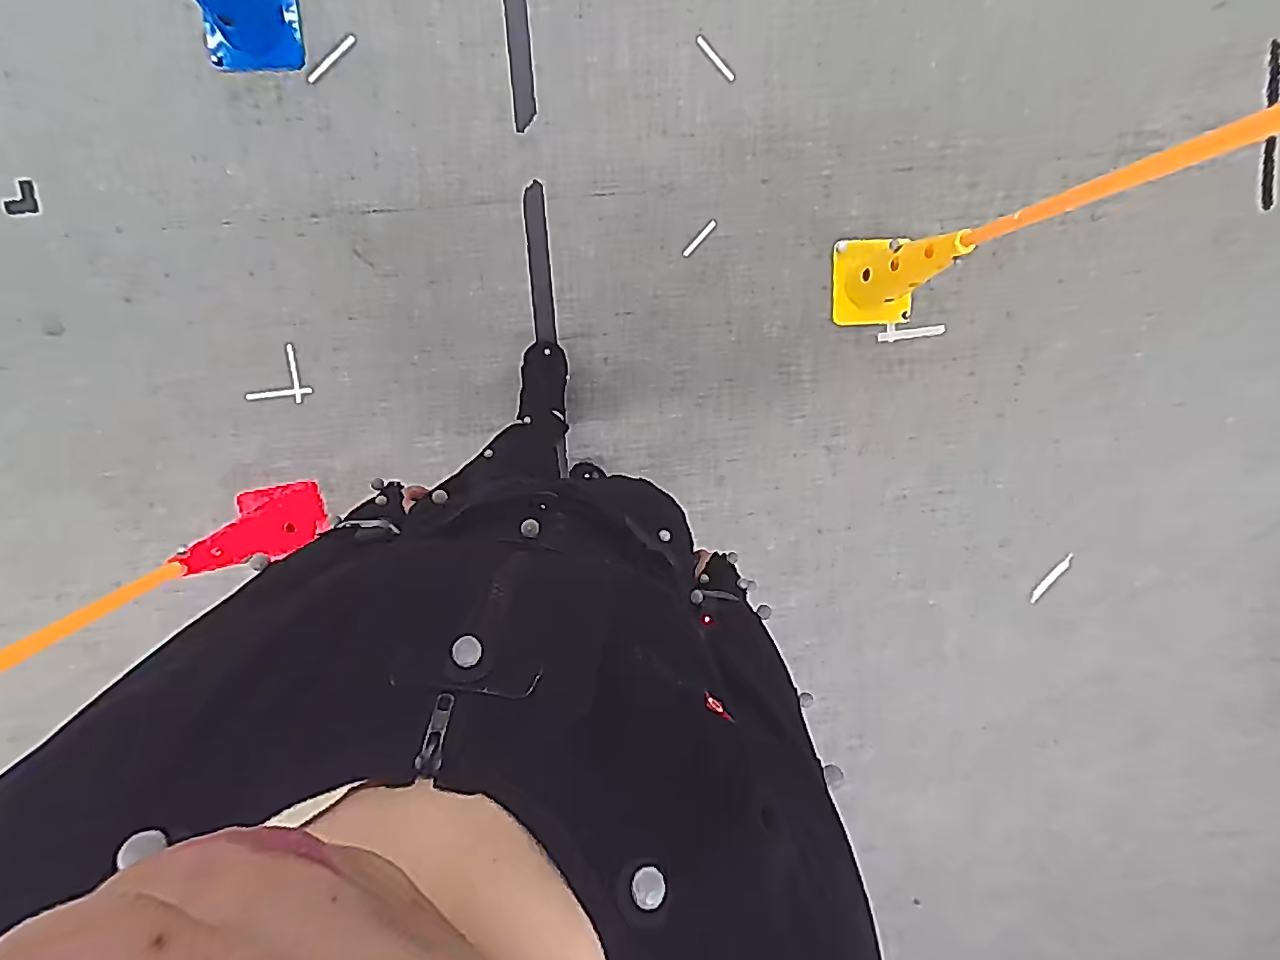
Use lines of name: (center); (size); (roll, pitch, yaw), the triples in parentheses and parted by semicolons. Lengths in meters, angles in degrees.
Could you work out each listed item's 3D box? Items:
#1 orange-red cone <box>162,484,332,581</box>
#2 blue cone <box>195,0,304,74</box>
orange-red cone: (-0.855, 0.139, 1.147); (0.199, 0.360, 0.198); (-10, 99, -3)
blue cone: (-0.827, -0.963, 1.010); (0.193, 0.380, 0.192); (-2, 99, -3)
